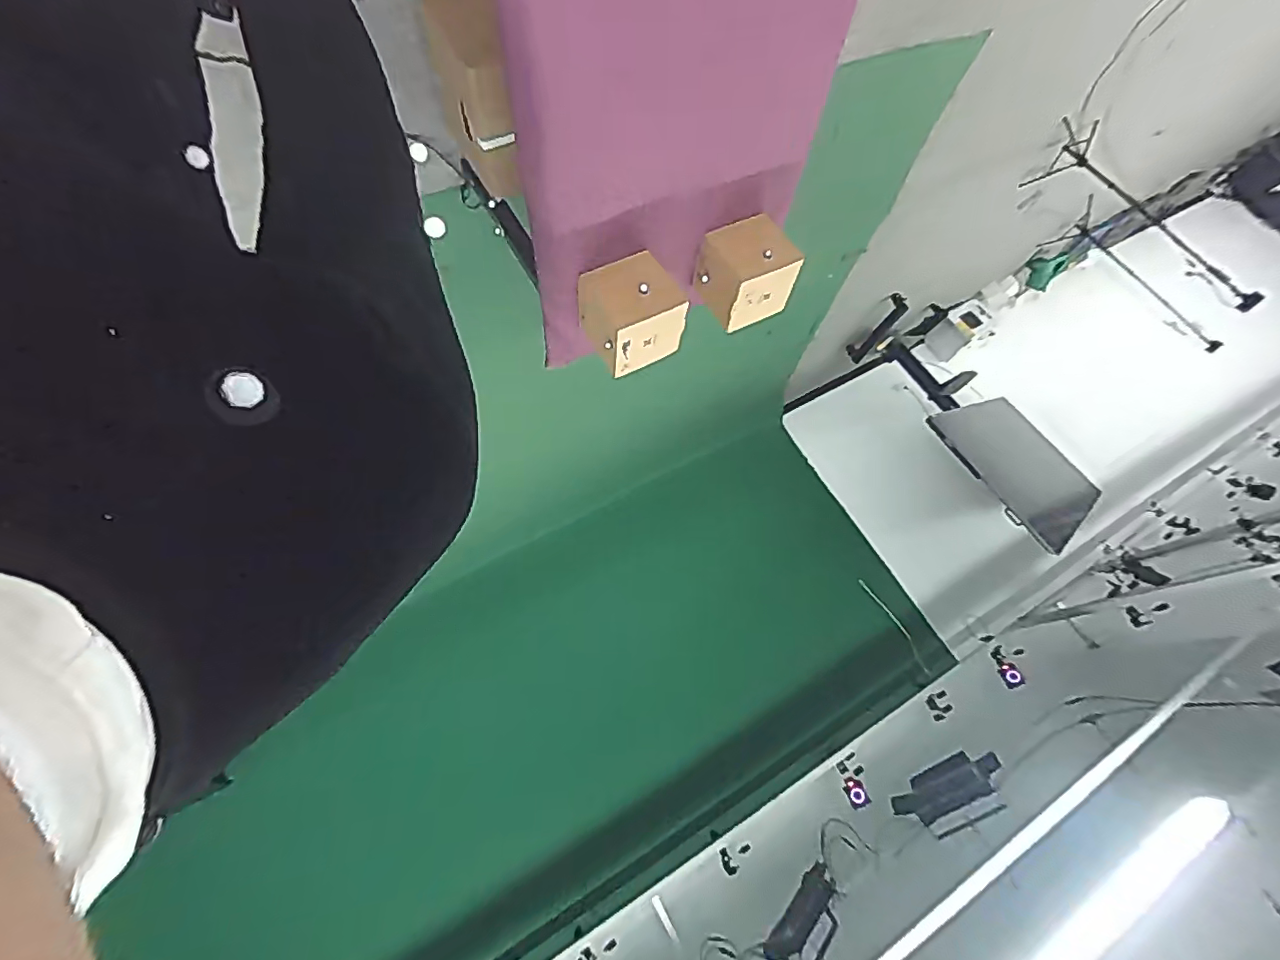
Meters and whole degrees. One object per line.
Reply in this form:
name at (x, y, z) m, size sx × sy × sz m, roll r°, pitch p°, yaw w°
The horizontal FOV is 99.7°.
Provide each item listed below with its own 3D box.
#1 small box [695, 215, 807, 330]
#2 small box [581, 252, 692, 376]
small box at (0.258, -0.499, 1.292) m, size 0.179 × 0.176 × 0.168 m, roll -25°, pitch 158°, yaw -15°
small box at (-0.013, -0.371, 1.196) m, size 0.179 × 0.176 × 0.168 m, roll -29°, pitch 160°, yaw -17°
